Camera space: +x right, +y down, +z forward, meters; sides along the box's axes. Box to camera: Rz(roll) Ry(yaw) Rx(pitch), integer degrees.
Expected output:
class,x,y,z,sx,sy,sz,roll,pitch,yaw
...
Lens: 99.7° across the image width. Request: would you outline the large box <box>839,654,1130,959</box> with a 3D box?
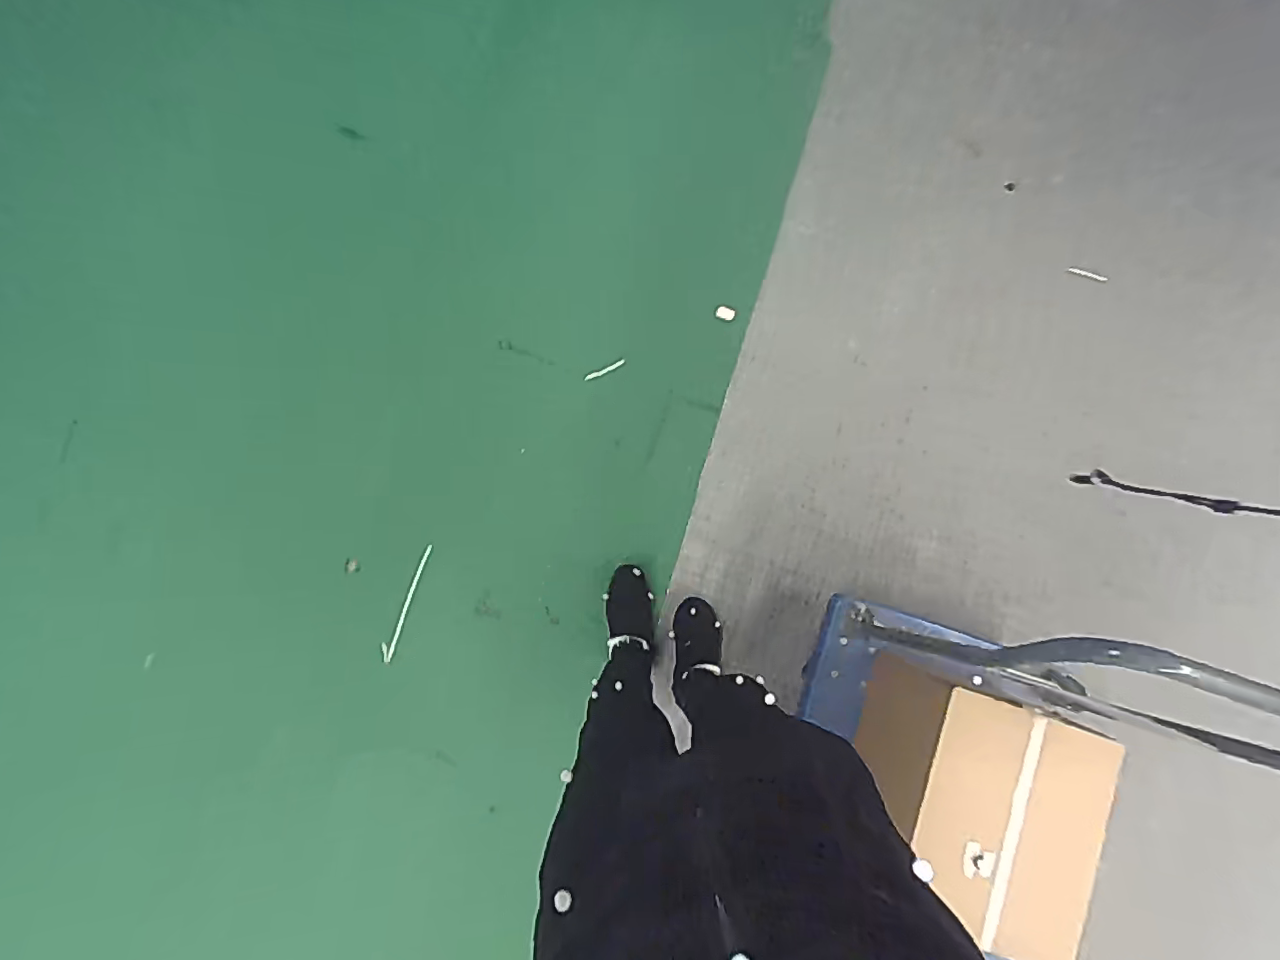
class,x,y,z,sx,sy,sz,roll,pitch,yaw
large box,0.642,0.612,1.065,0.320,0.320,0.408,19,85,3
